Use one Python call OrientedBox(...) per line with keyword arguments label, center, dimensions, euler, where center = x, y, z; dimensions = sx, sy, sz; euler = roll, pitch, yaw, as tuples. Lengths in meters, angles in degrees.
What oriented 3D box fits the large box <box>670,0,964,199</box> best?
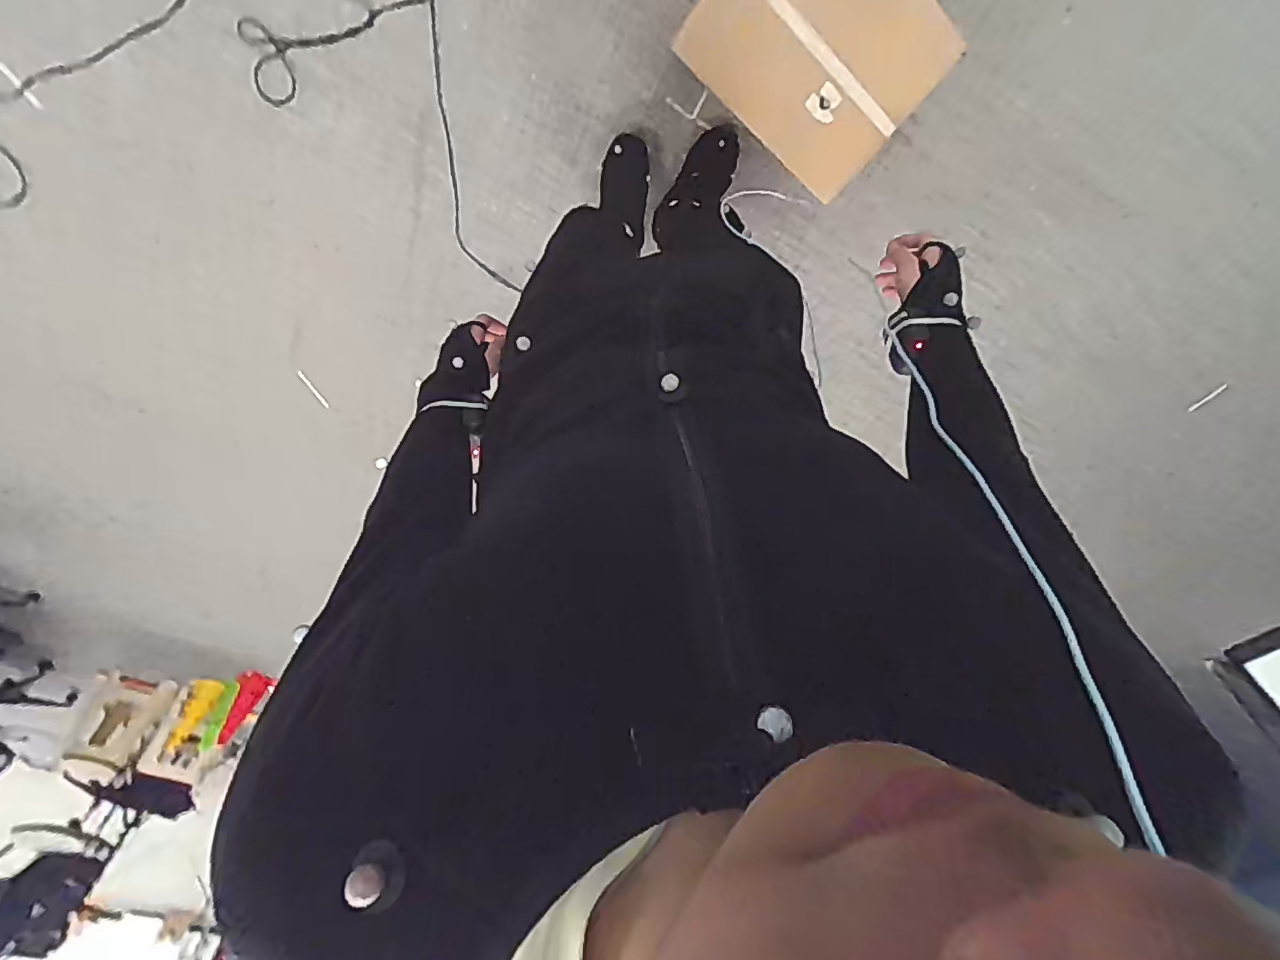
OrientedBox(label="large box", center=(0.304, -0.833, 1.034), dimensions=(0.408, 0.320, 0.320), euler=(32, 125, -22))
